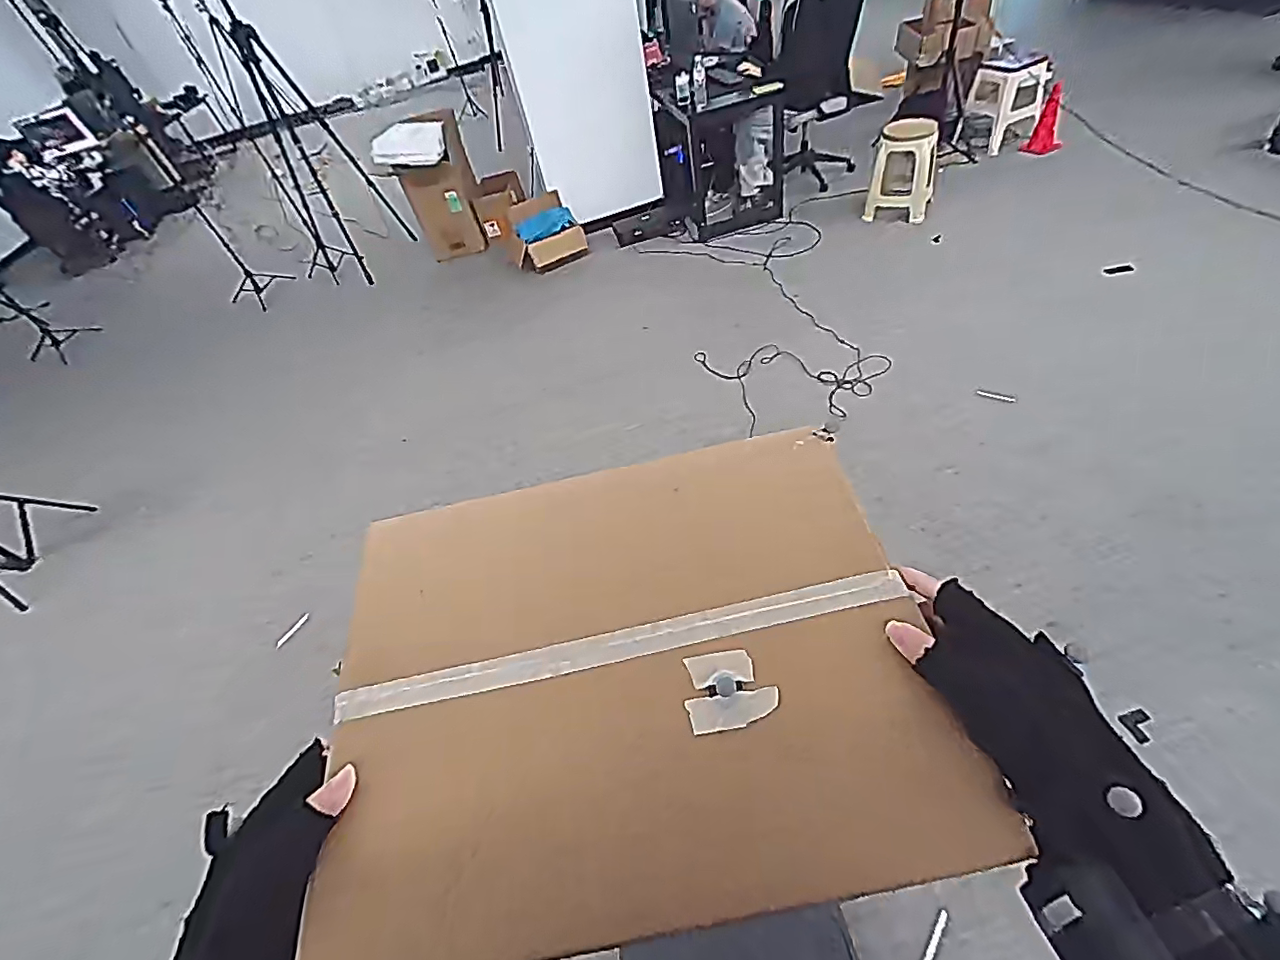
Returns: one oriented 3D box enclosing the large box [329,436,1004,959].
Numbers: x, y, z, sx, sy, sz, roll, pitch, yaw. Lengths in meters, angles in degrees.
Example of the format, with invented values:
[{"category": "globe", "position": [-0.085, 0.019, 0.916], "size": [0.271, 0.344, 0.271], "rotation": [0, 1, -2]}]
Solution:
[{"category": "large box", "position": [0.009, 0.210, 0.512], "size": [0.408, 0.320, 0.320], "rotation": [-13, 54, 1]}]
